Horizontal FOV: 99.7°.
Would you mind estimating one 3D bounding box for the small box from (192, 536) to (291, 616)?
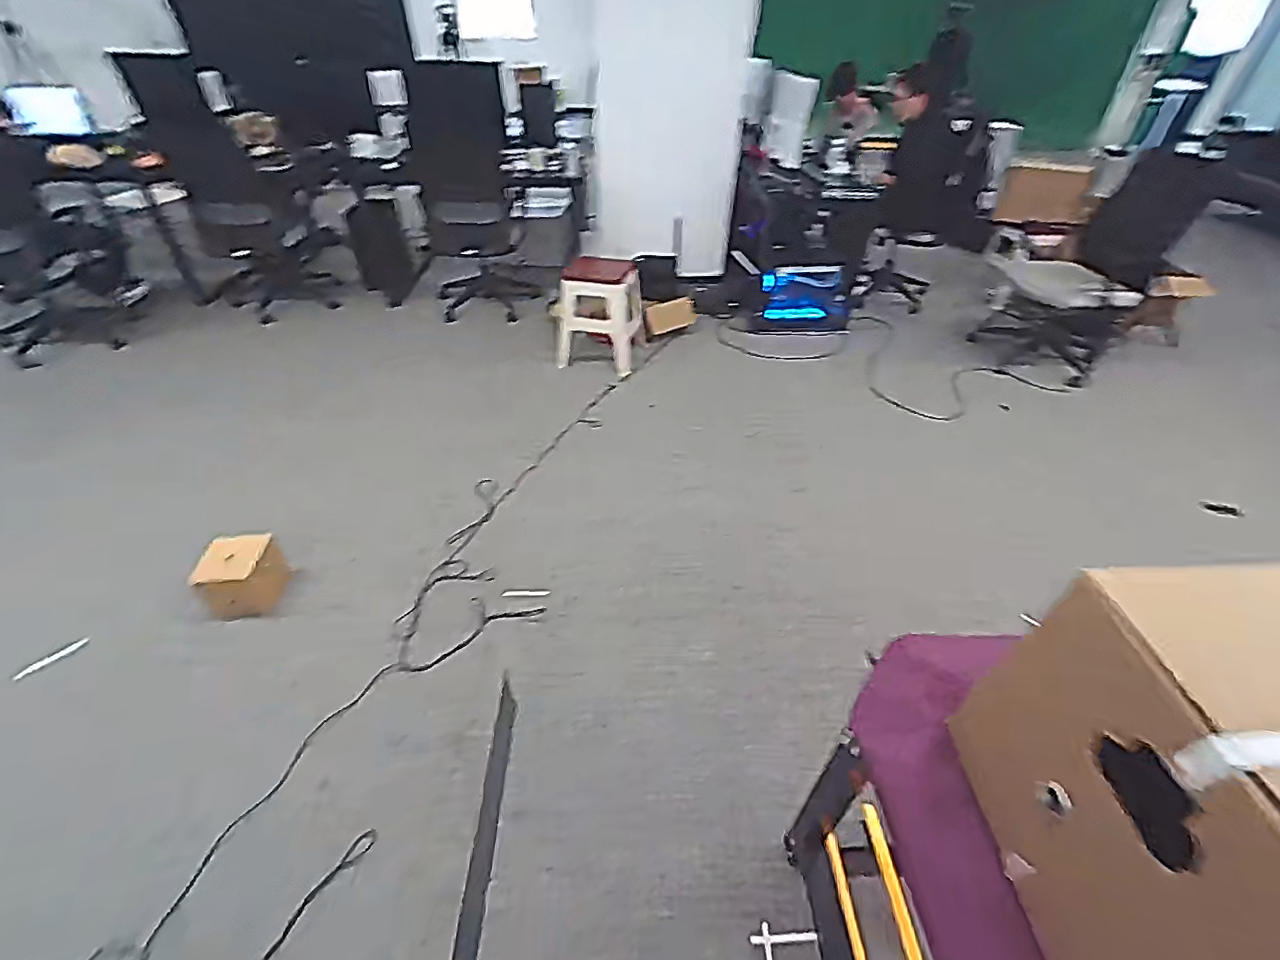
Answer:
[{"bbox_3d":[-1.214,0.295,1.665,0.168,0.176,0.179,-4,41,-6],"label":"small box"}]
